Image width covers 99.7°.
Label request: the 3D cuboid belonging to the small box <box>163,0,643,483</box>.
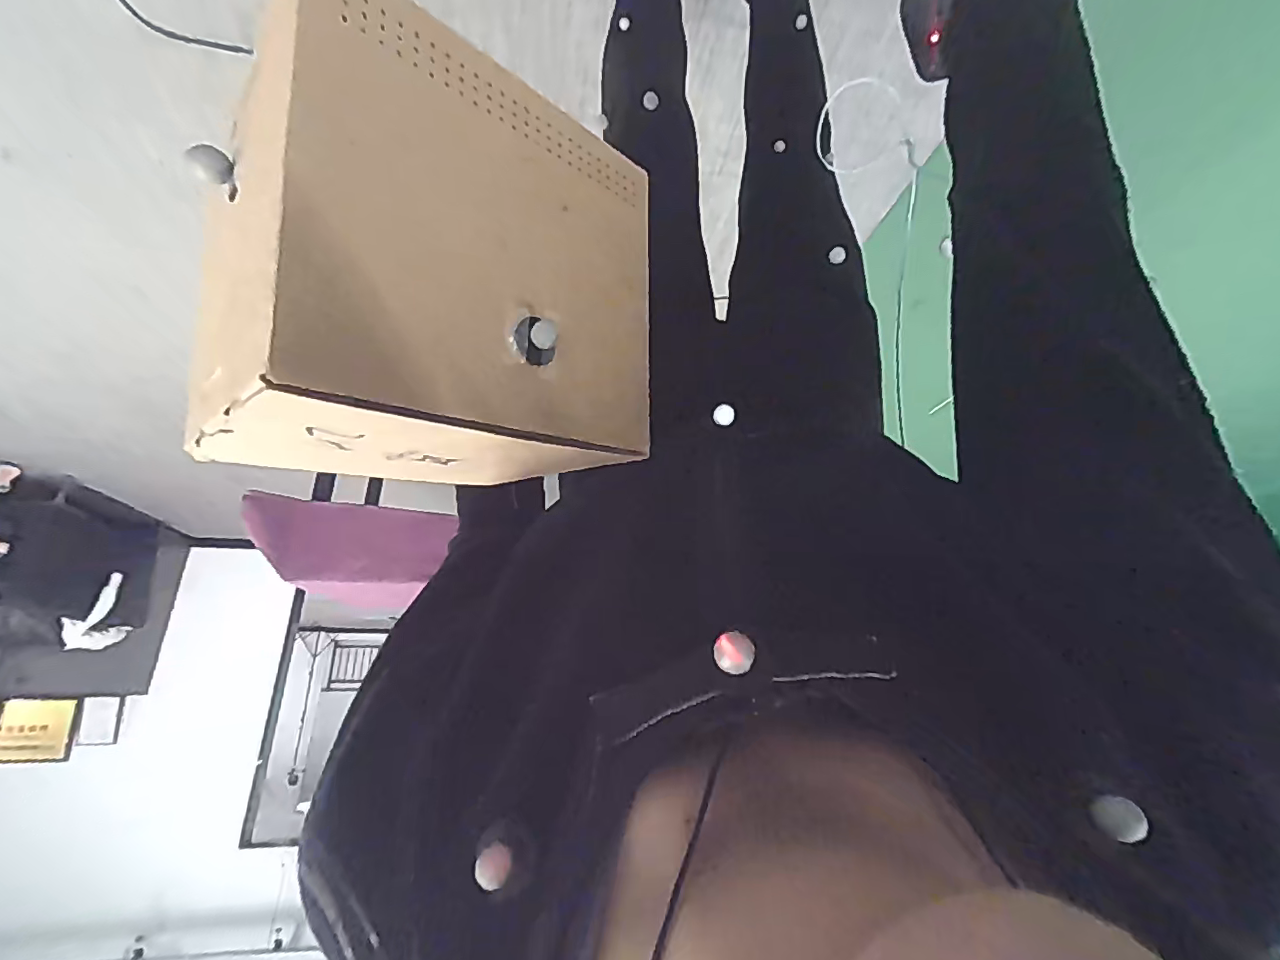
[{"bbox_3d":[-0.114,-0.096,0.282,0.168,0.176,0.179,-9,168,42],"label":"small box"}]
